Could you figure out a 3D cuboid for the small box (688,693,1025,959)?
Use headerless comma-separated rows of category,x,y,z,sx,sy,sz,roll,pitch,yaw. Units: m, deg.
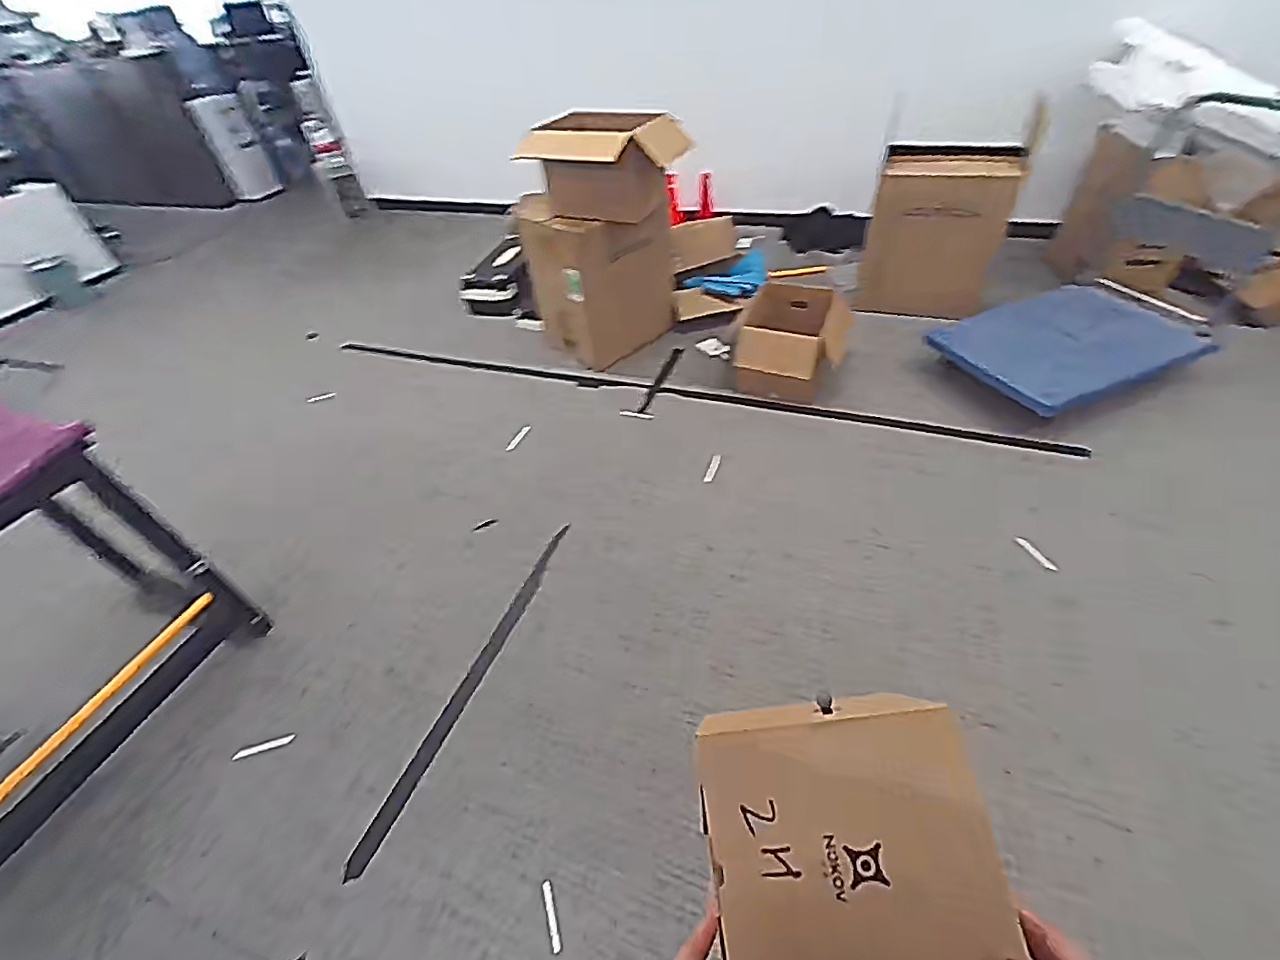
small box,0.138,0.260,0.408,0.179,0.176,0.168,-11,69,7
